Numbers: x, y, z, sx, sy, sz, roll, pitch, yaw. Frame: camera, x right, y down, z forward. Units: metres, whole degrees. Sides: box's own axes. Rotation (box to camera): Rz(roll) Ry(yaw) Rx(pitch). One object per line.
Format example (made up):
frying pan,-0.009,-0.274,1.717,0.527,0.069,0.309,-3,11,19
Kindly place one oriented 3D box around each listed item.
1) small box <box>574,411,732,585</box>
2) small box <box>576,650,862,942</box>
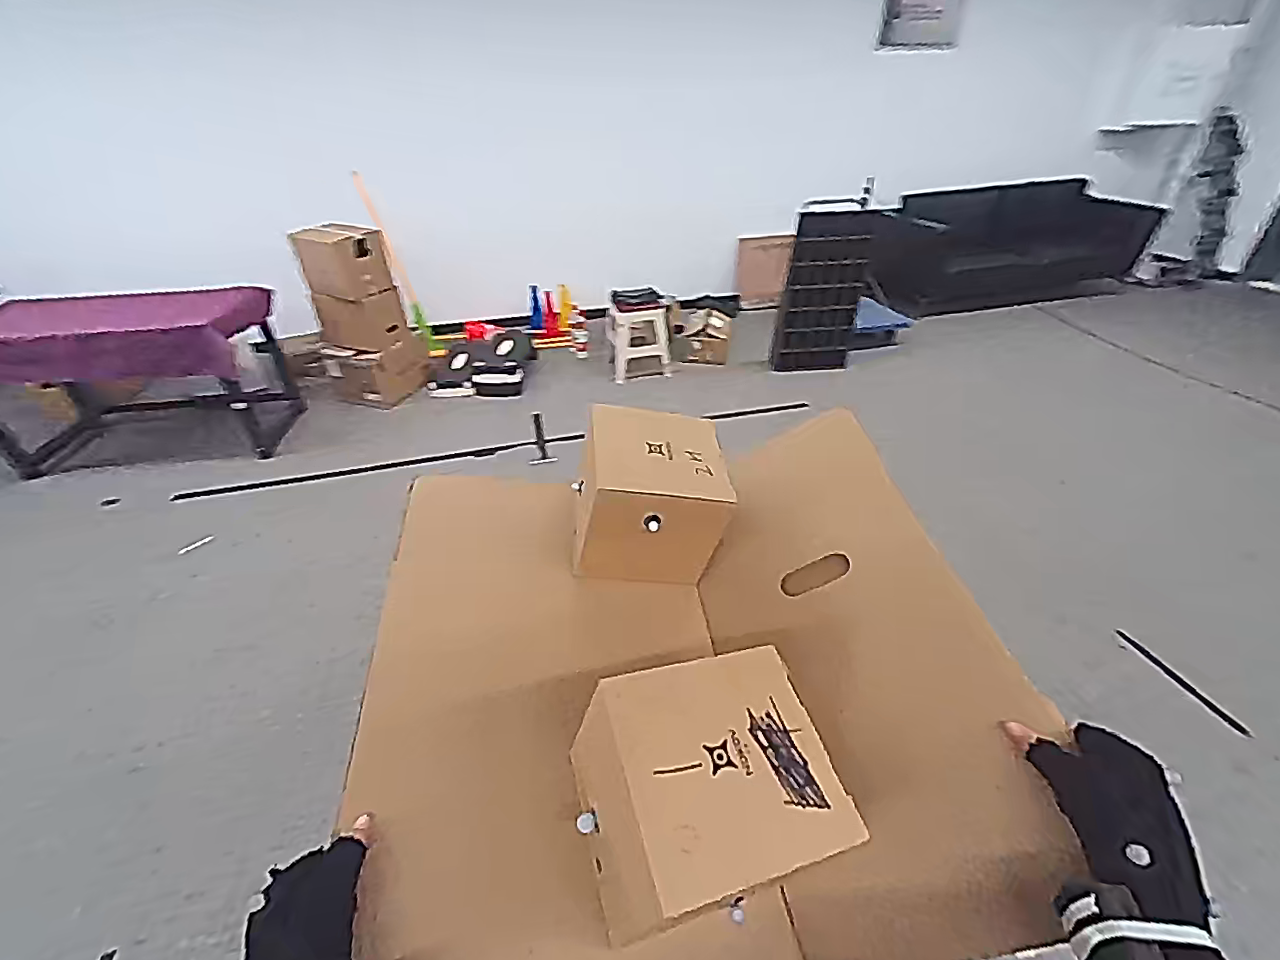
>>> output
small box,0.004,0.029,0.748,0.179,0.176,0.168,7,43,-13
small box,0.053,0.281,0.491,0.179,0.176,0.168,-4,46,-22
